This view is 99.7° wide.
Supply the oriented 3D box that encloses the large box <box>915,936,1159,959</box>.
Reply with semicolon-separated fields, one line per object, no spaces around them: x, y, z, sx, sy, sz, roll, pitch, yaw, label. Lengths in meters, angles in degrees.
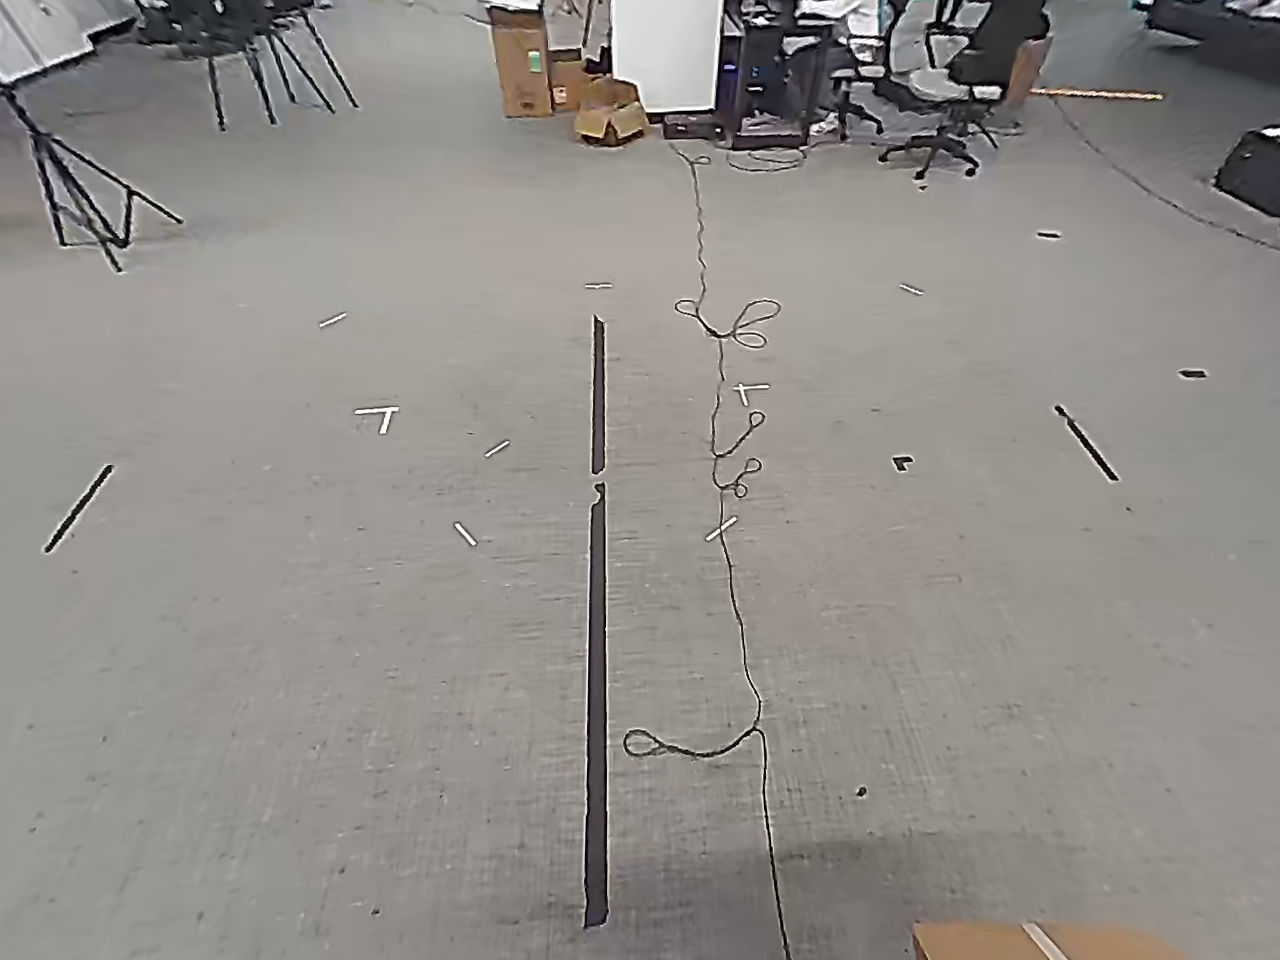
0.516;0.754;0.531;0.320;0.408;0.320;-4;78;8;large box
